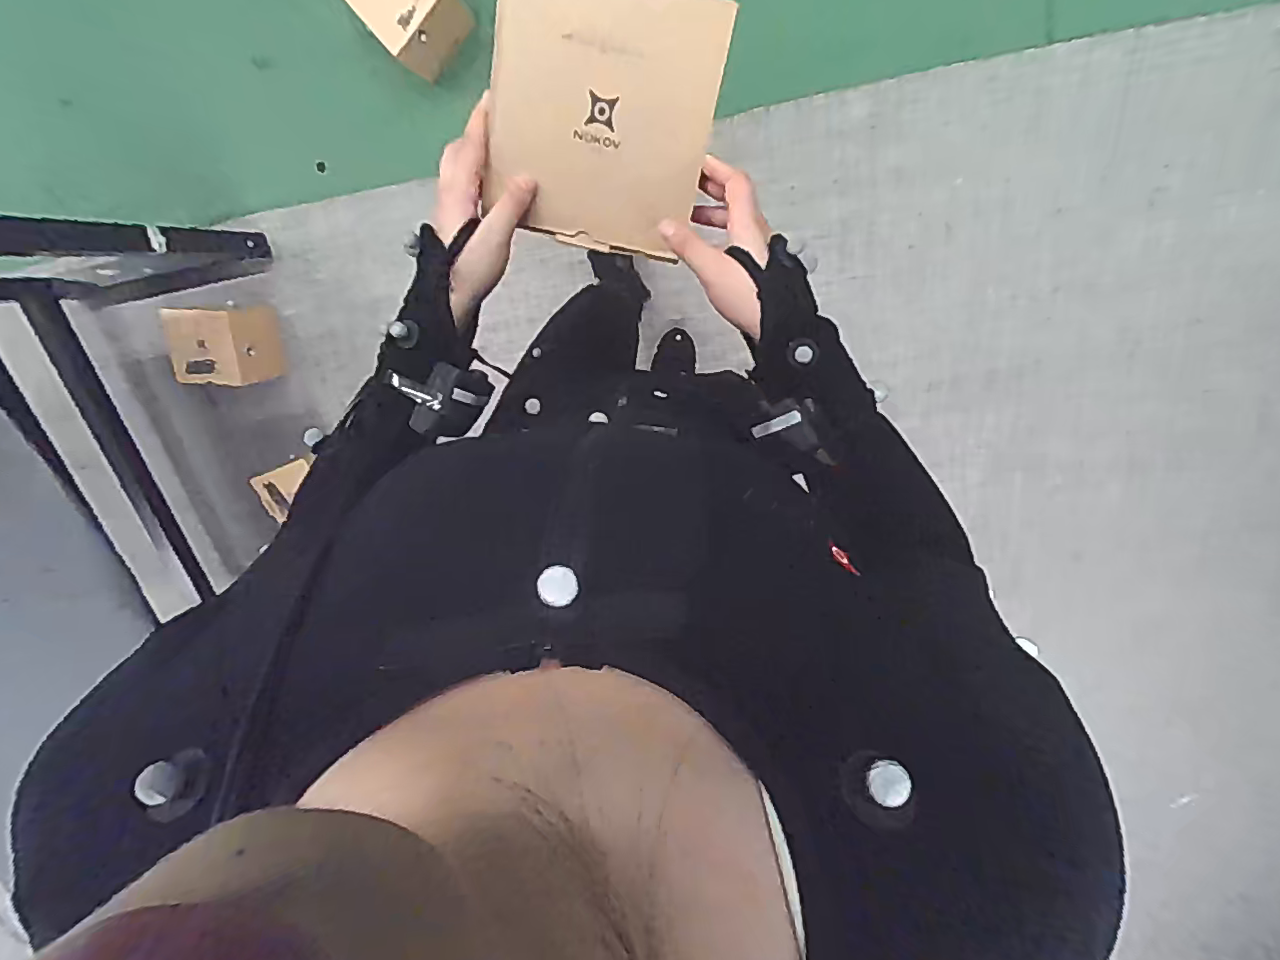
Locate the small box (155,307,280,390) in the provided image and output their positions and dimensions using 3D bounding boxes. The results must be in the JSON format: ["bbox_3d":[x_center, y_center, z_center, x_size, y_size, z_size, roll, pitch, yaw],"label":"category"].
[{"bbox_3d":[-1.033,-0.330,1.341,0.168,0.176,0.179,3,110,1],"label":"small box"}]

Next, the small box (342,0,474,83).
[{"bbox_3d":[-0.467,-0.946,1.074,0.168,0.176,0.179,-39,104,16],"label":"small box"}]

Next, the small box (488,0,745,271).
[{"bbox_3d":[-0.026,-0.296,0.475,0.168,0.176,0.179,10,112,-8],"label":"small box"}]
